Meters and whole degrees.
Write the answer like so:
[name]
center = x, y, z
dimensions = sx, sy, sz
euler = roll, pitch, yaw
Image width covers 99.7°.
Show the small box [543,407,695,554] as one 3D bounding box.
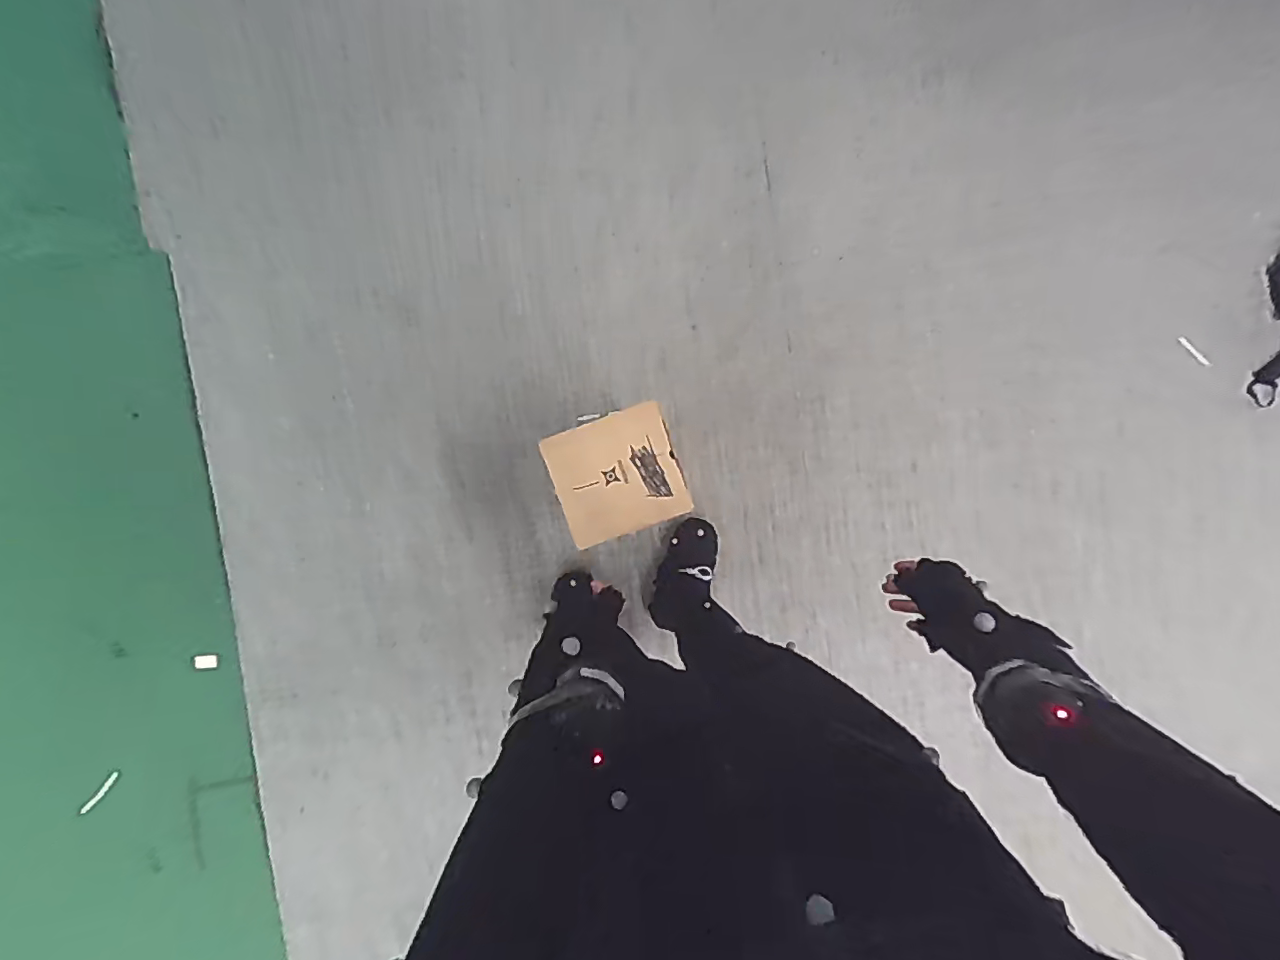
[small box]
center = -0.031, -0.002, 0.835
dimensions = 0.179, 0.176, 0.168
euler = -20, 91, 0
